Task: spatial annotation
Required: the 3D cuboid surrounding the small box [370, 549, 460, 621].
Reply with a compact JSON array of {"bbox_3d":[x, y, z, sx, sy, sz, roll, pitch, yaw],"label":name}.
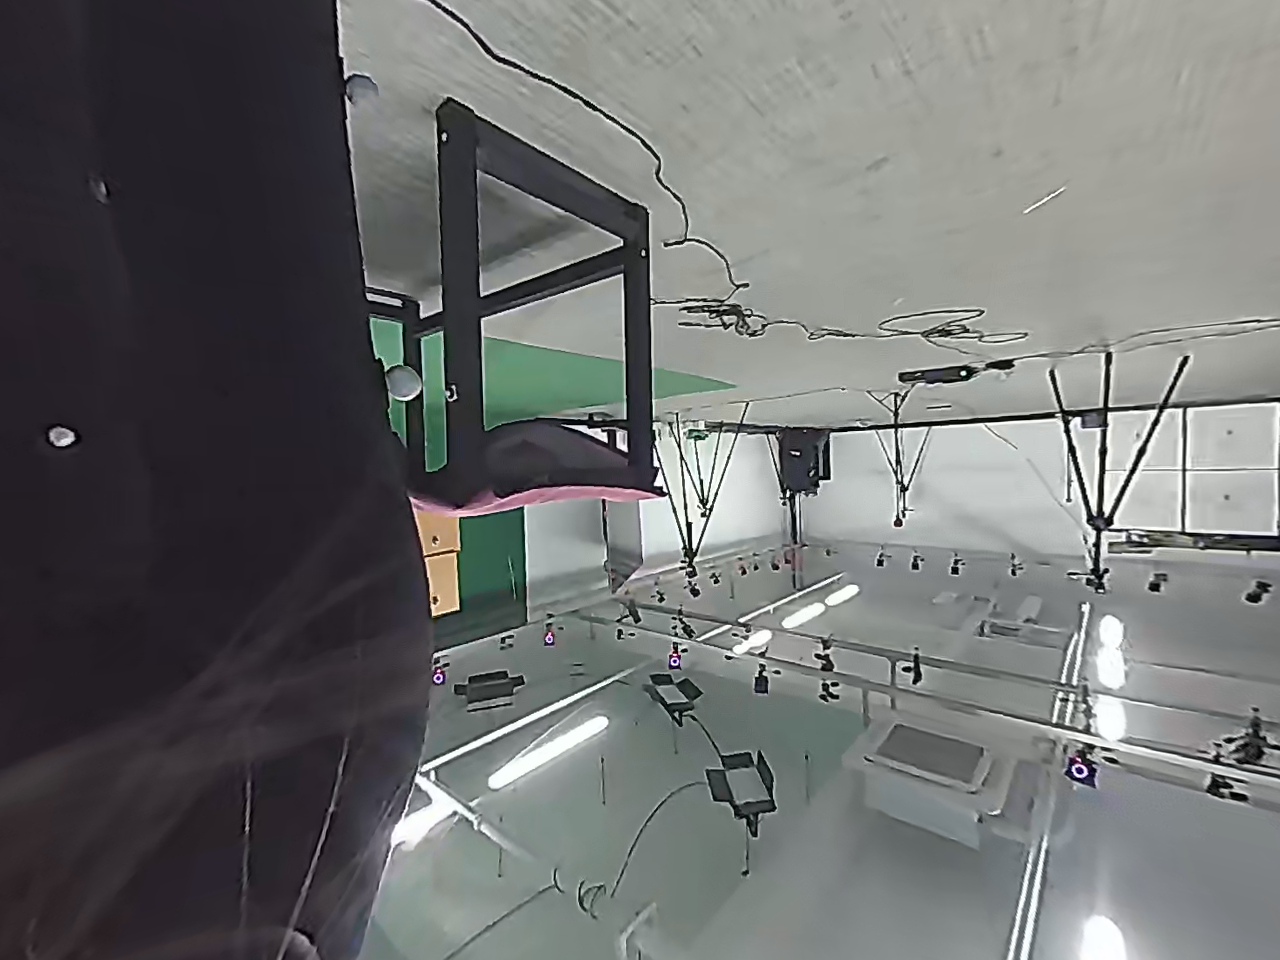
[{"bbox_3d":[-0.627,0.279,1.506,0.168,0.176,0.179,-2,-179,37],"label":"small box"}]
